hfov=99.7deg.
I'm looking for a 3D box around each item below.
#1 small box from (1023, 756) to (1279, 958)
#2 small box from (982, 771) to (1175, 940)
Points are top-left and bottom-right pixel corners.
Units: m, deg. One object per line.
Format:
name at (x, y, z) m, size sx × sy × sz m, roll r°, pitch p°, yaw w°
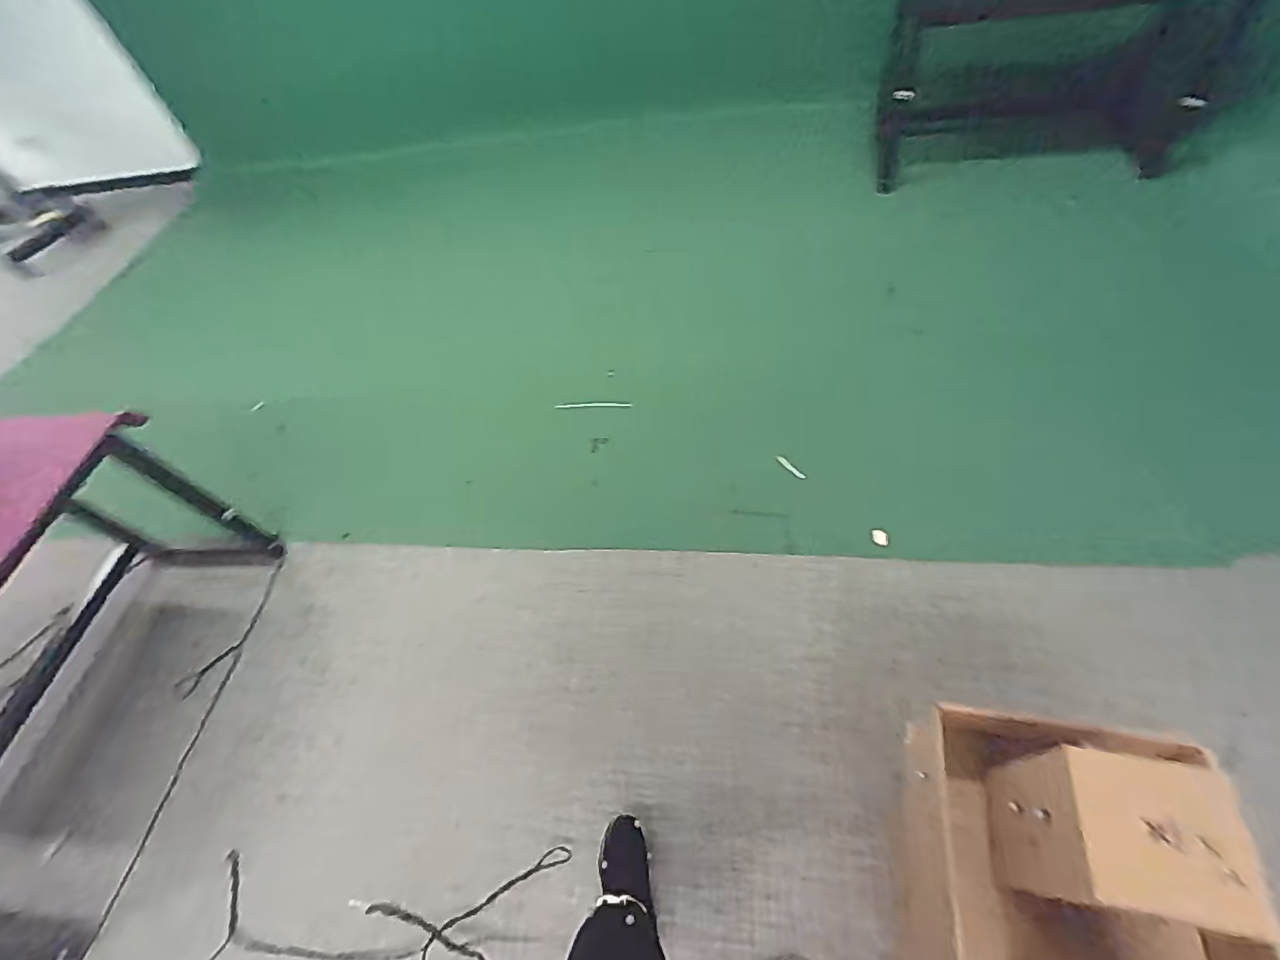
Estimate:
small box at (0.626, 0.475, 0.697) m, size 0.179 × 0.176 × 0.168 m, roll 6°, pitch 57°, yaw 15°
small box at (0.659, 0.567, 0.829) m, size 0.179 × 0.176 × 0.168 m, roll 7°, pitch 55°, yaw 15°
